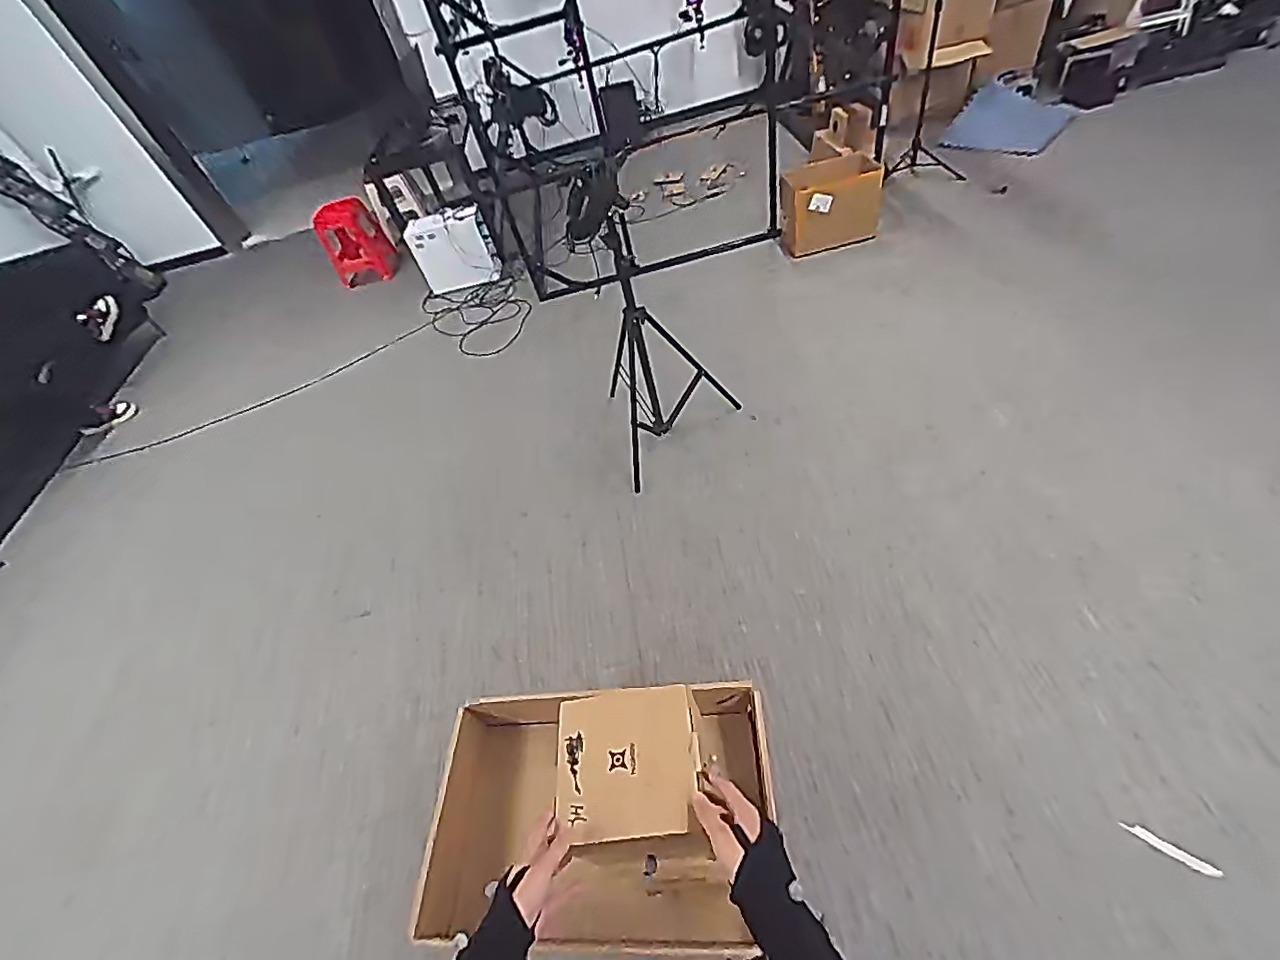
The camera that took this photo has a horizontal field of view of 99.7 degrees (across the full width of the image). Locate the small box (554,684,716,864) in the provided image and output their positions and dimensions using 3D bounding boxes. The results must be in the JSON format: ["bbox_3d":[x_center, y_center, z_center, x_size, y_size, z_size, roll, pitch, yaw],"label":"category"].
[{"bbox_3d":[0.001,0.386,0.704,0.179,0.176,0.168,-10,47,7],"label":"small box"}]

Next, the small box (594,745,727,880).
[{"bbox_3d":[0.035,0.494,0.822,0.168,0.176,0.179,-9,47,9],"label":"small box"}]

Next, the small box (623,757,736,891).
[{"bbox_3d":[0.069,0.600,0.940,0.168,0.176,0.179,-10,47,8],"label":"small box"}]
